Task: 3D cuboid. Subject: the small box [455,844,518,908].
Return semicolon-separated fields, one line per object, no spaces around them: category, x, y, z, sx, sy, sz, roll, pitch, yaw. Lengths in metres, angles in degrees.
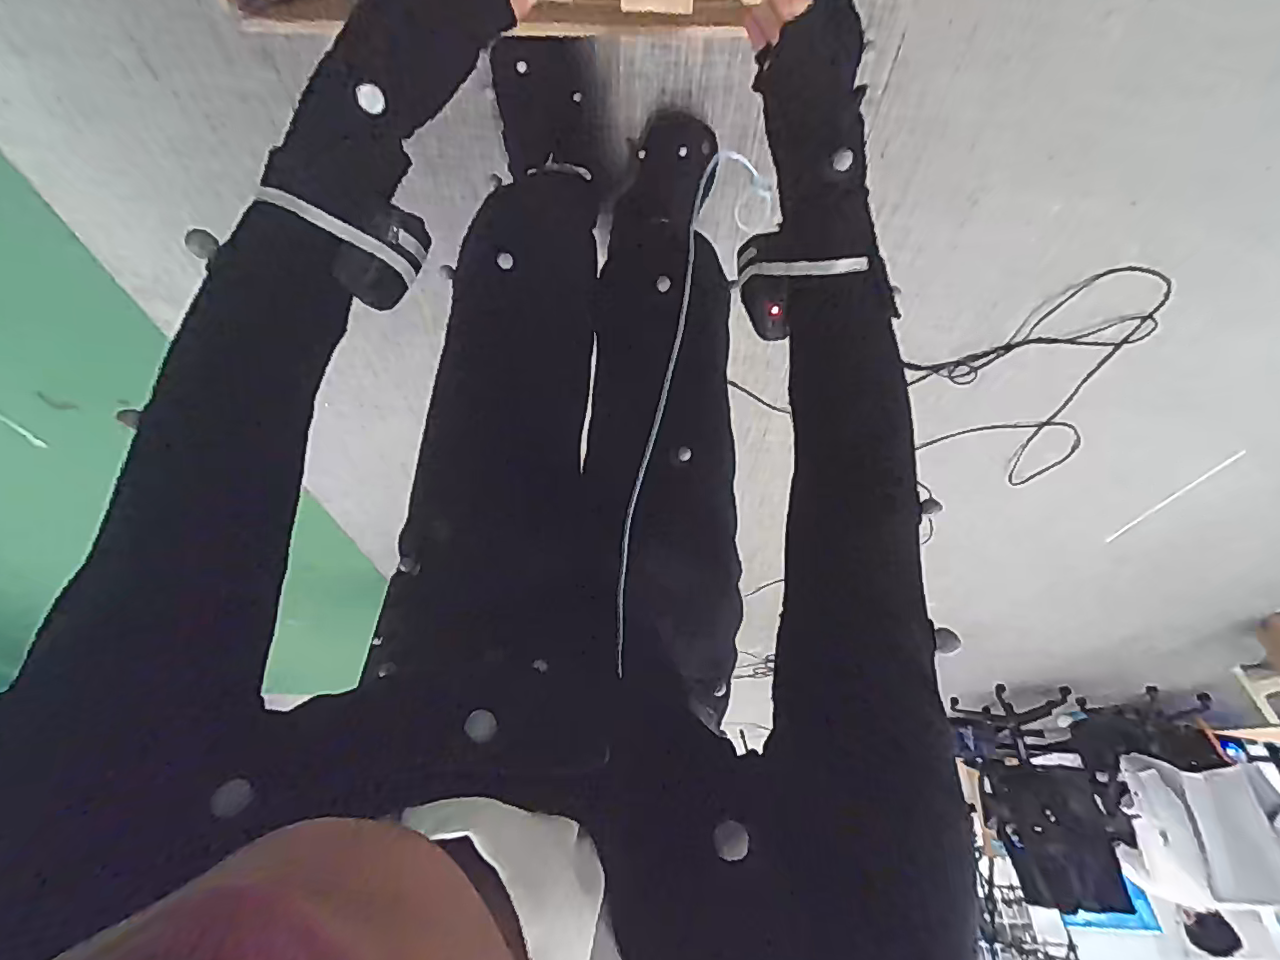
small box;-0.524;1.360;1.864;0.168;0.176;0.179;4;148;-2

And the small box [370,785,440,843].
small box;-0.840;1.209;1.955;0.168;0.176;0.179;1;146;0
